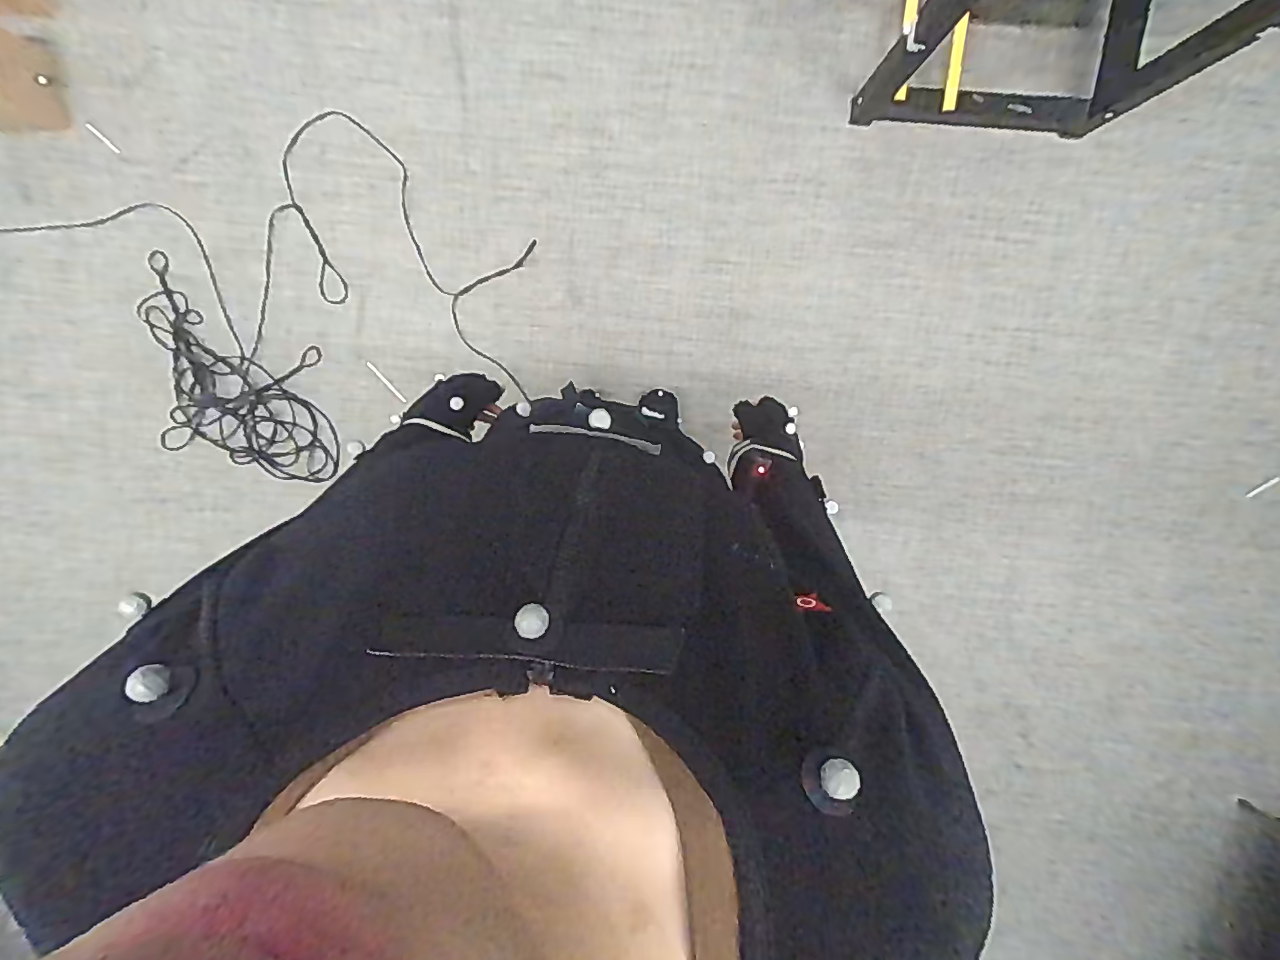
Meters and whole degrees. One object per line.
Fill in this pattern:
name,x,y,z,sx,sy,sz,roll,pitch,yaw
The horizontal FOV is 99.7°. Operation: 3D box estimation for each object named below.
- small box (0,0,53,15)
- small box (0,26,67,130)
small box,-1.476,-1.175,1.193,0.179,0.176,0.168,5,101,-1
small box,-1.498,-0.928,1.238,0.179,0.176,0.168,-3,102,1
